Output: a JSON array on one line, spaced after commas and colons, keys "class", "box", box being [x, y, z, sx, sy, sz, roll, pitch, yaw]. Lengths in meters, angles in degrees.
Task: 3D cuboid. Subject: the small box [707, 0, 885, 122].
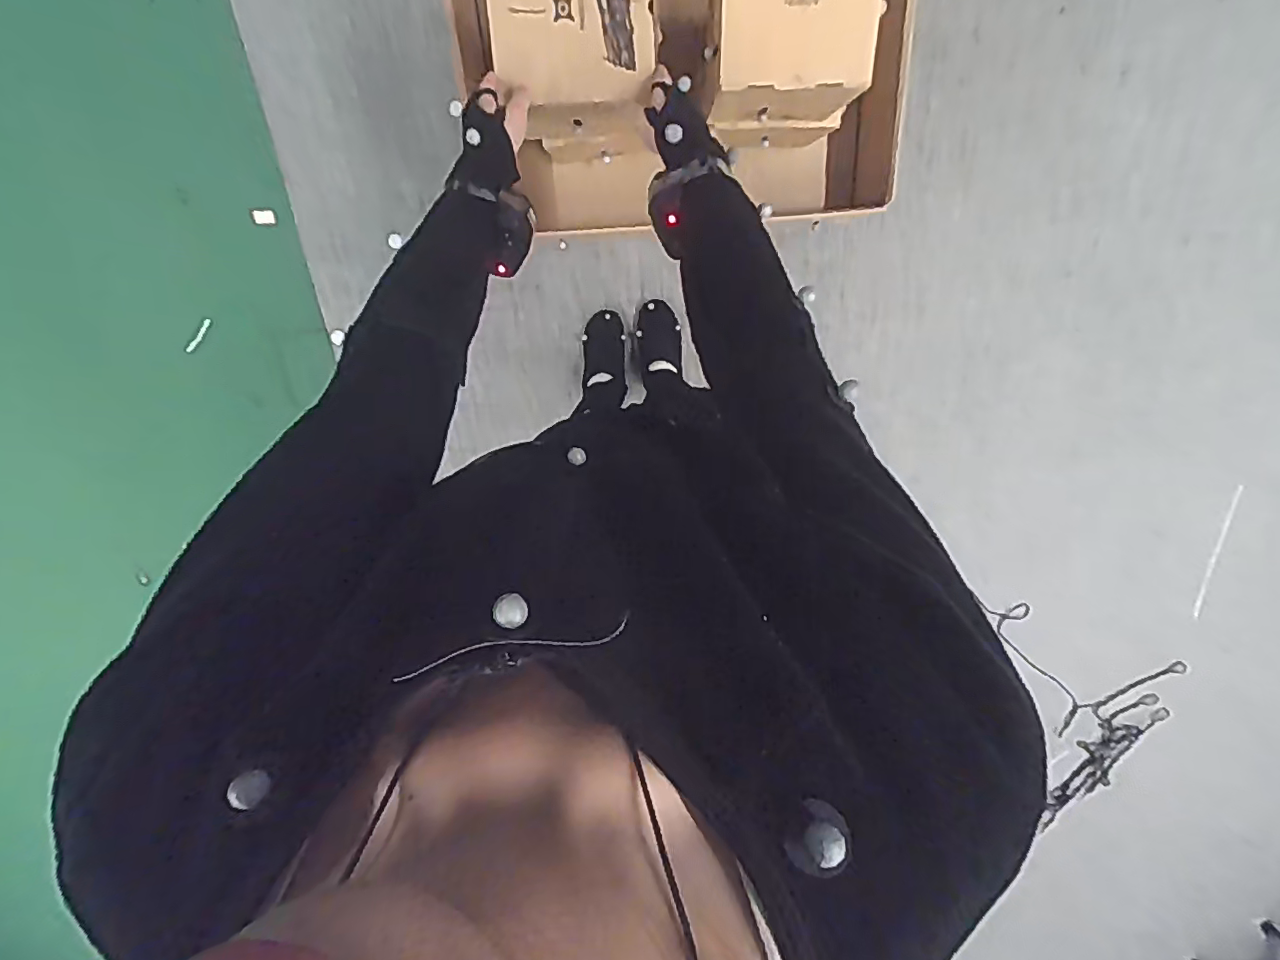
[{"class": "small box", "box": [0.169, -0.535, 0.621, 0.168, 0.176, 0.179, -1, 113, 1]}]

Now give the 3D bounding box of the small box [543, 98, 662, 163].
[{"class": "small box", "box": [-0.062, -0.578, 0.778, 0.168, 0.176, 0.179, -7, 113, 3]}]

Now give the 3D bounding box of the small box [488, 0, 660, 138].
[{"class": "small box", "box": [-0.068, -0.511, 0.626, 0.179, 0.176, 0.168, -1, 111, 1]}]
